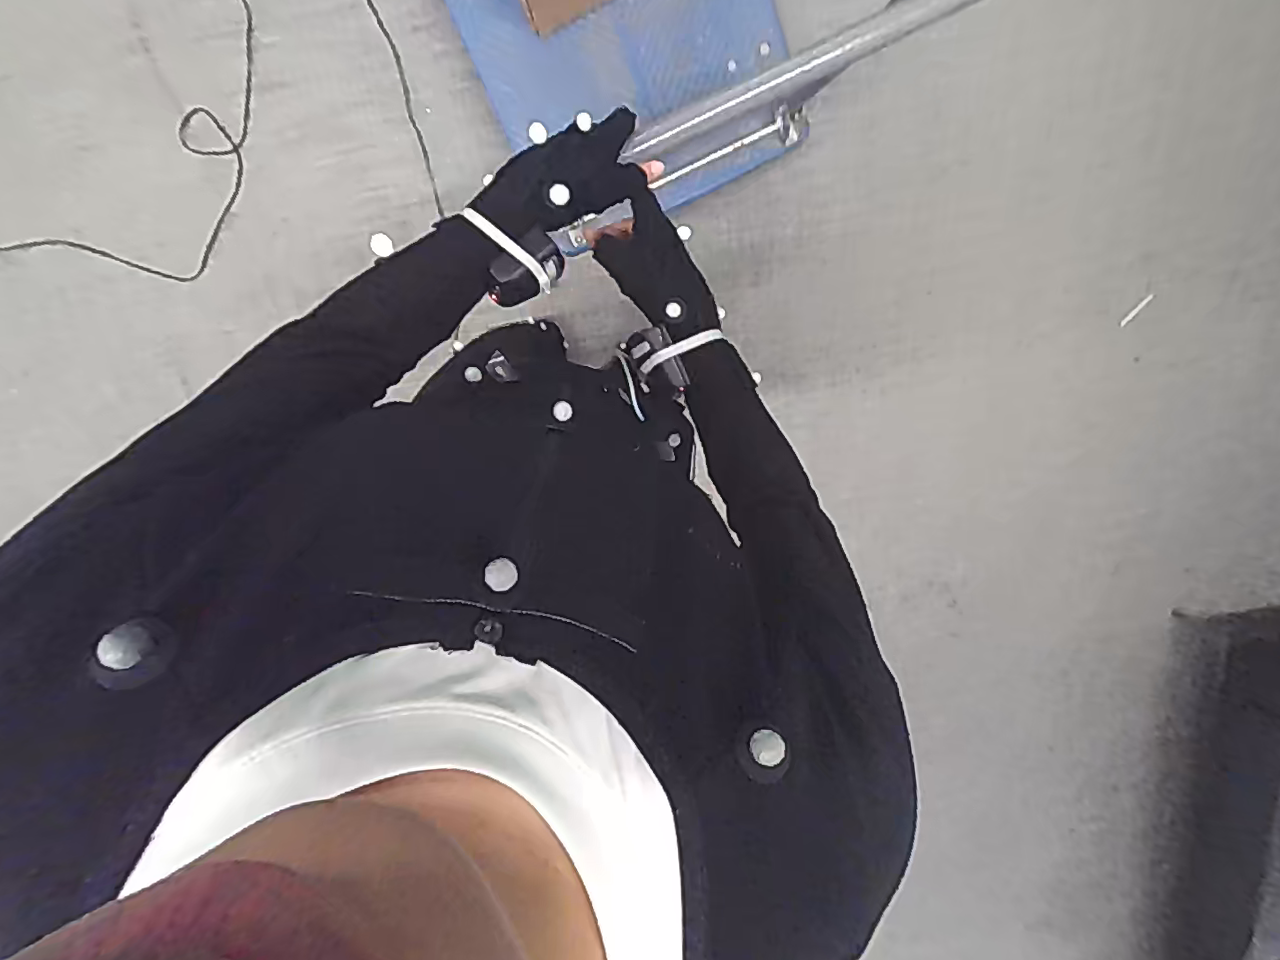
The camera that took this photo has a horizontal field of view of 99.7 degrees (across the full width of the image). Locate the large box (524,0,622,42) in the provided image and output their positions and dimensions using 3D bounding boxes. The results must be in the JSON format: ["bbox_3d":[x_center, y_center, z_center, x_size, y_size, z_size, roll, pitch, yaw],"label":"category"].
[{"bbox_3d":[-0.067,-1.013,0.847,0.408,0.320,0.320,-25,106,7],"label":"large box"}]
